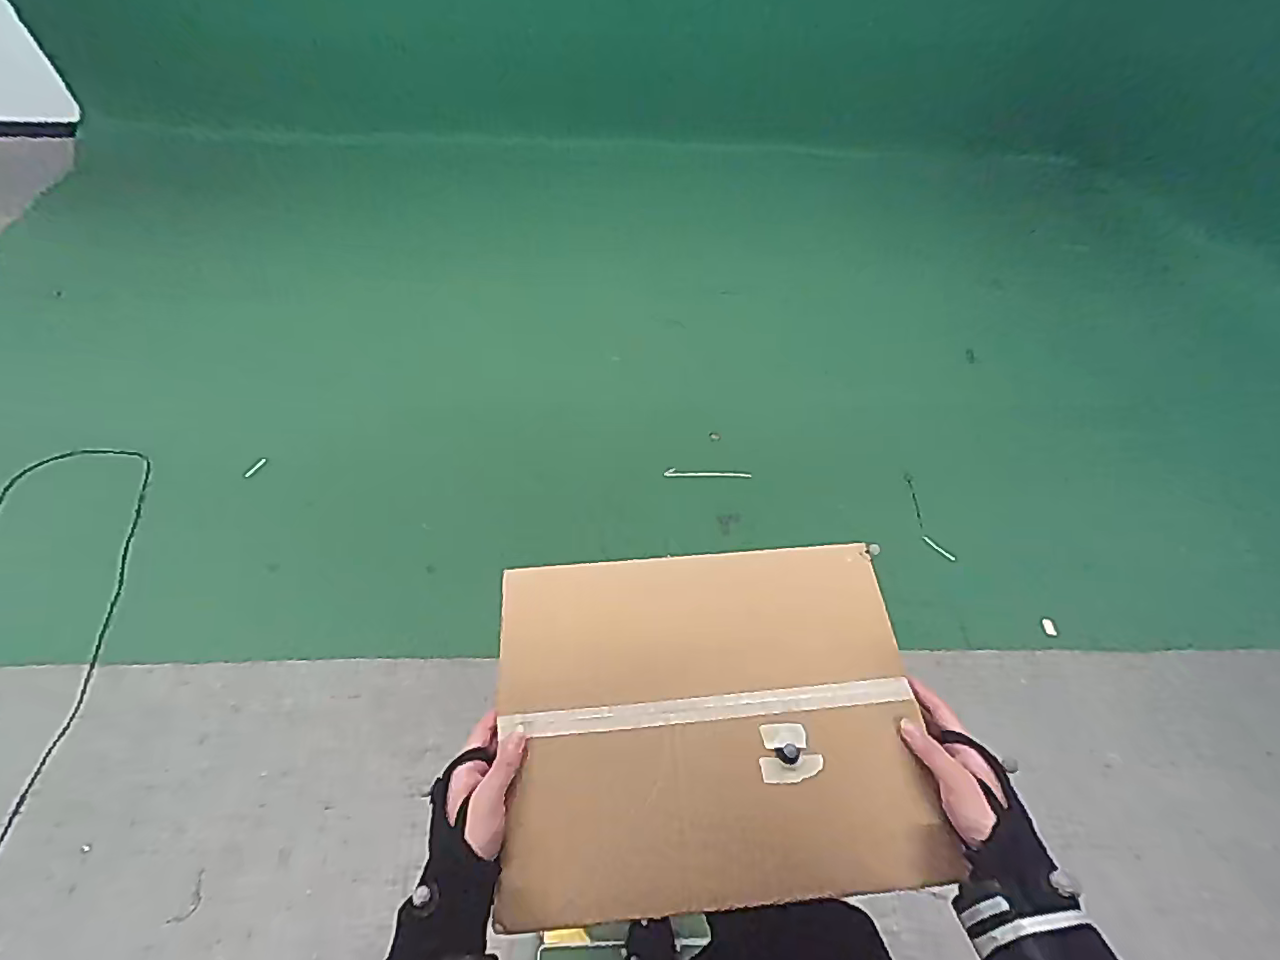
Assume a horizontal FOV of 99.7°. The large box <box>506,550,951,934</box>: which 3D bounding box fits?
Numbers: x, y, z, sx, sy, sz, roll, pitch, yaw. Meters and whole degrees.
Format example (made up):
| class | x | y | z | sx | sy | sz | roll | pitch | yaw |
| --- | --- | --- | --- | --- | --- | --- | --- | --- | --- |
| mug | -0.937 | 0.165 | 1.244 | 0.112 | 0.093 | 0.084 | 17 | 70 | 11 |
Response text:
| class | x | y | z | sx | sy | sz | roll | pitch | yaw |
| --- | --- | --- | --- | --- | --- | --- | --- | --- | --- |
| large box | 0.062 | 0.303 | 0.667 | 0.408 | 0.320 | 0.320 | -4 | 62 | -4 |
